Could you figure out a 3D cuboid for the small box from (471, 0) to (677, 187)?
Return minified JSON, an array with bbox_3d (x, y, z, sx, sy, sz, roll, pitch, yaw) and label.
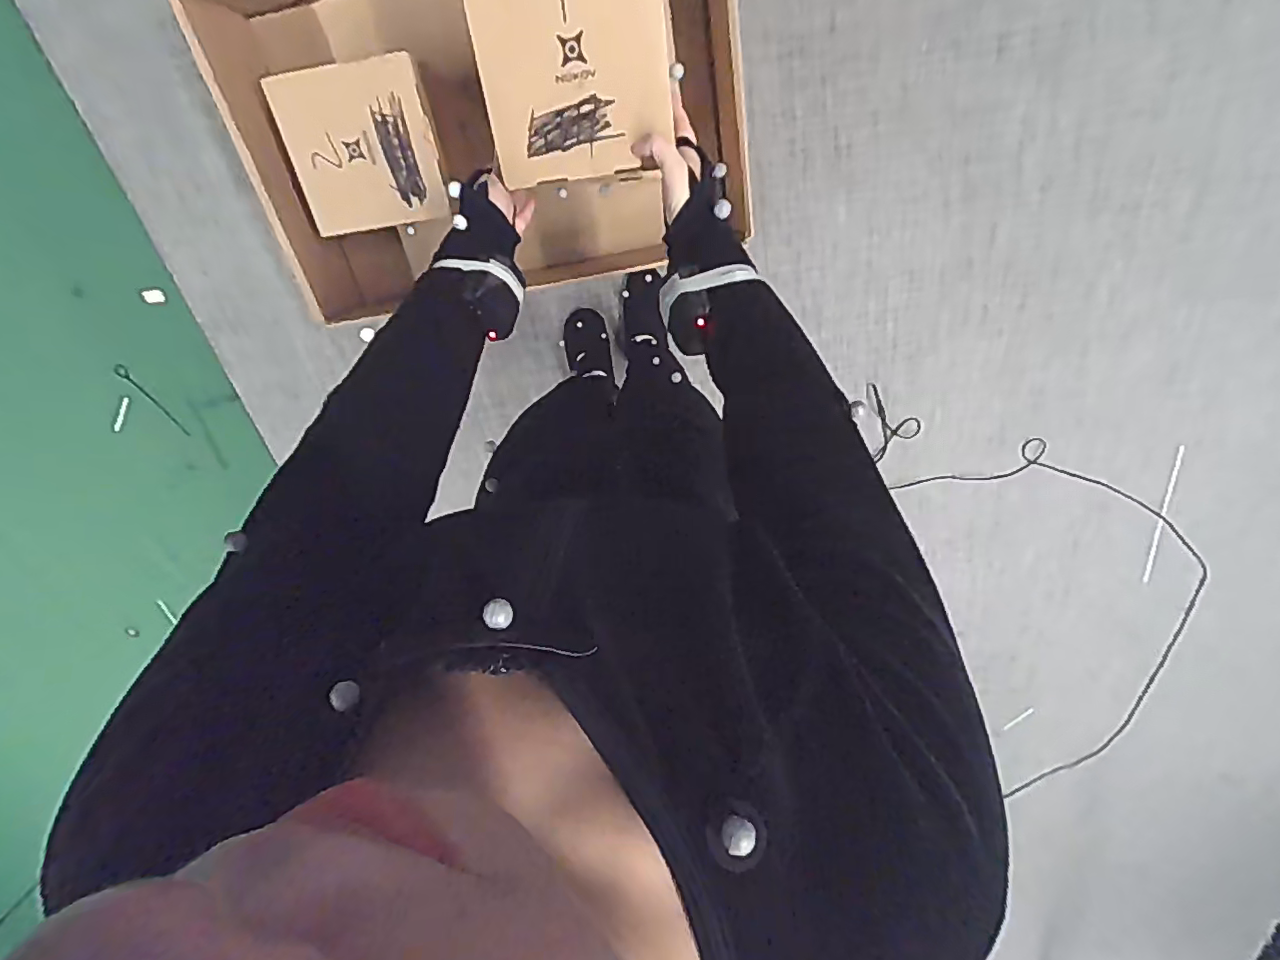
[{"bbox_3d":[-0.051,-0.400,0.533,0.168,0.176,0.179,-6,119,4],"label":"small box"}]
